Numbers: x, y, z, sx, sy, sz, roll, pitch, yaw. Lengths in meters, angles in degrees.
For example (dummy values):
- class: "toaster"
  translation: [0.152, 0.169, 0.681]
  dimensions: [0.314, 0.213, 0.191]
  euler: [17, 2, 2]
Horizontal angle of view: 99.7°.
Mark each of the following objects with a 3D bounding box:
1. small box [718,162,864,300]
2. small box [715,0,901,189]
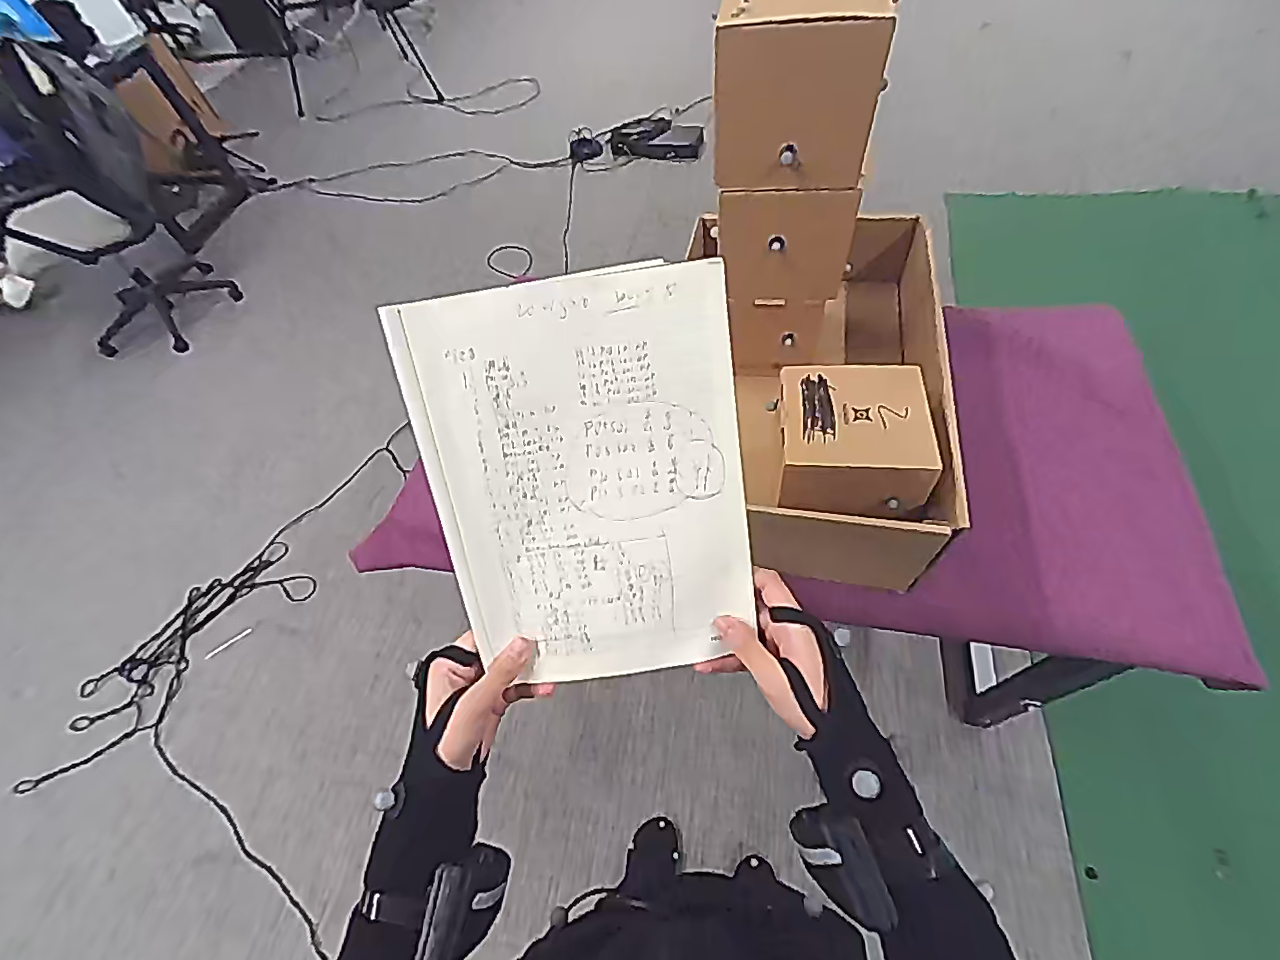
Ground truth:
- class: "small box"
  translation: [0.207, -0.377, 0.773]
  dimensions: [0.179, 0.176, 0.168]
  euler: [4, 58, 10]
- class: "small box"
  translation: [0.187, -0.468, 0.638]
  dimensions: [0.179, 0.176, 0.168]
  euler: [7, 58, 10]
